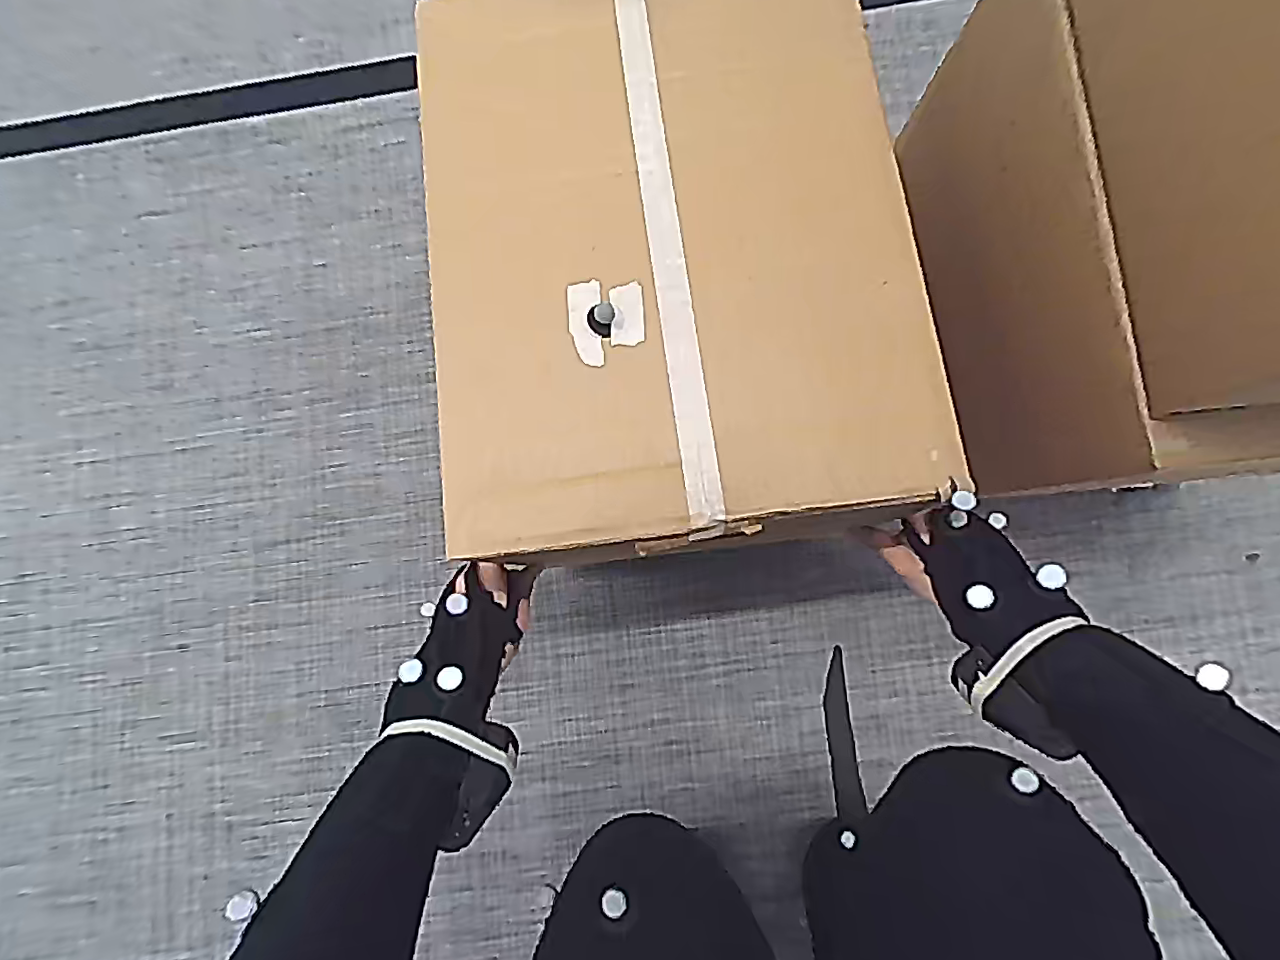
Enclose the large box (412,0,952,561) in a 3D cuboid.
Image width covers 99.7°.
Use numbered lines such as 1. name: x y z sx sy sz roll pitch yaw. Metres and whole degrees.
1. large box: 0.017 -0.146 0.511 0.320 0.320 0.408 -8 81 2
